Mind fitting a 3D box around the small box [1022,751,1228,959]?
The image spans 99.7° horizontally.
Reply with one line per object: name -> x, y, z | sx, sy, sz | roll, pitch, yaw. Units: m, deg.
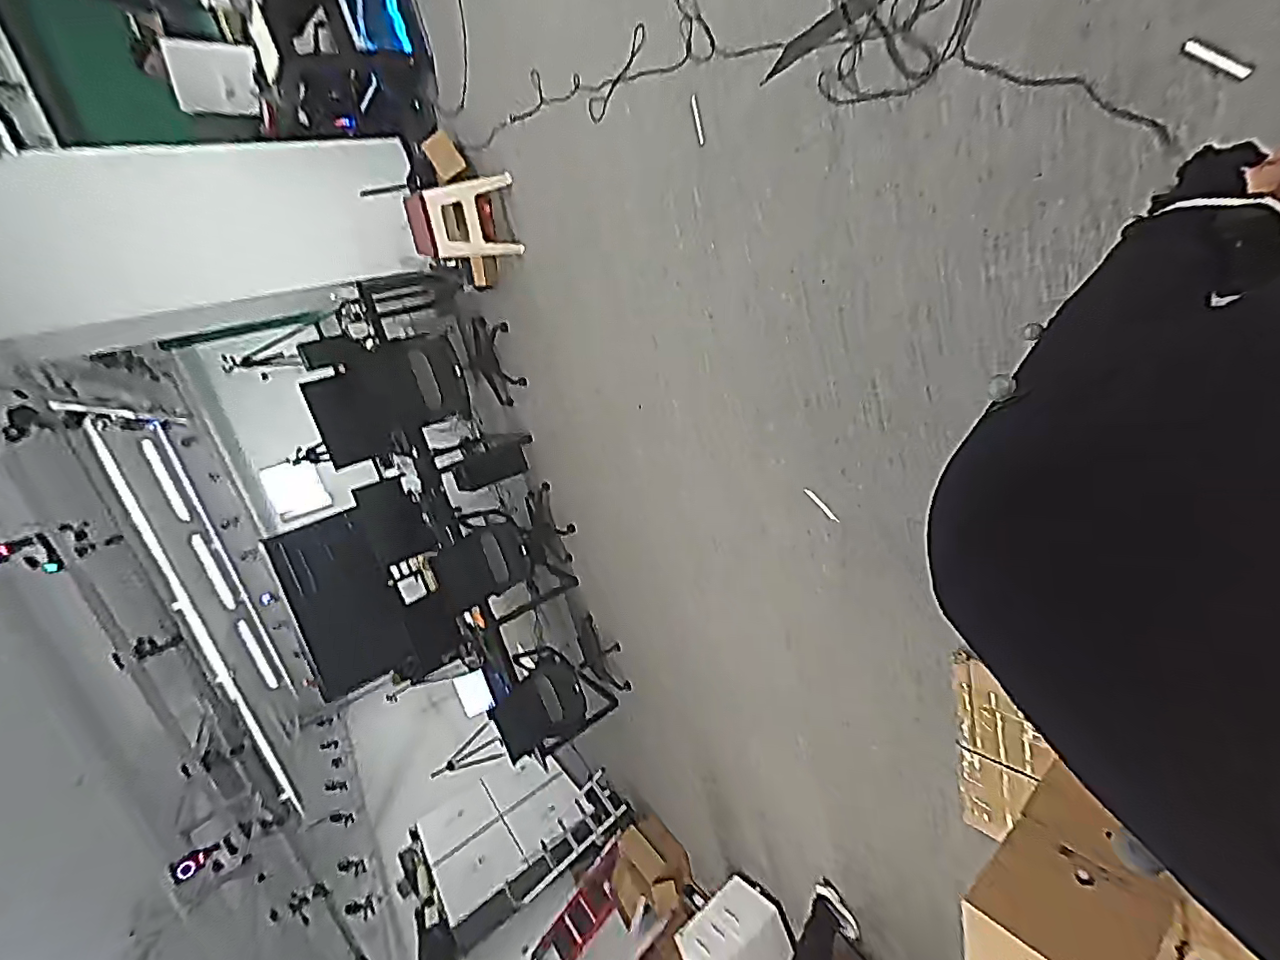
small box -> 0.664, 0.519, 0.746 | 0.179, 0.176, 0.168 | 13, 122, 56
